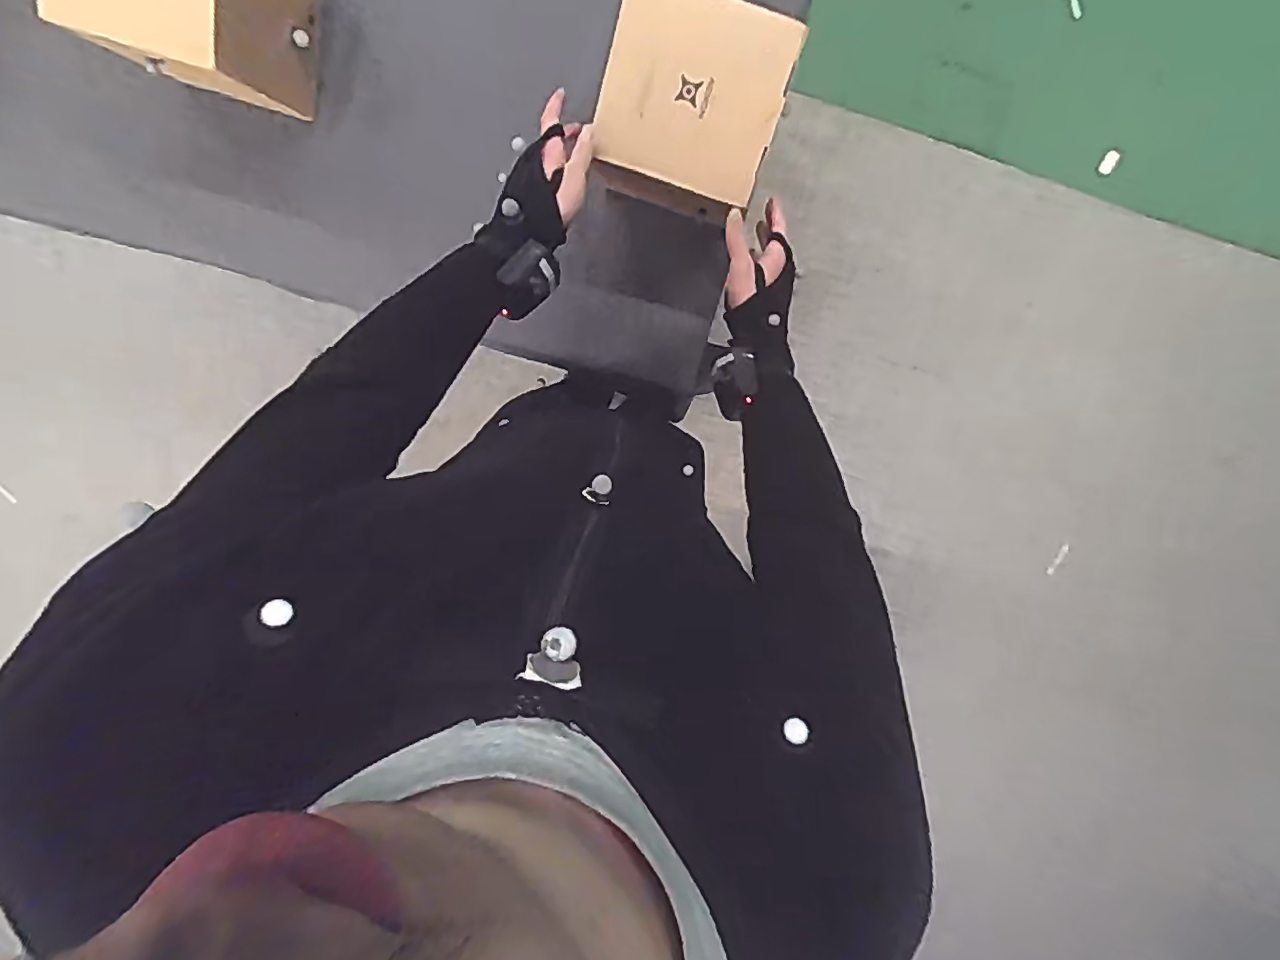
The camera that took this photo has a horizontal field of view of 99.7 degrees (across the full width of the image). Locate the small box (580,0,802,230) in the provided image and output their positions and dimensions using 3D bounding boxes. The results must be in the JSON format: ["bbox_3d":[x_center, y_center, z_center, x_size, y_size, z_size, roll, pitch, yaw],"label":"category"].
[{"bbox_3d":[0.051,-0.392,0.598,0.179,0.176,0.168,18,108,-1],"label":"small box"}]

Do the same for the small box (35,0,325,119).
[{"bbox_3d":[-0.483,-0.526,0.586,0.179,0.176,0.168,16,109,-3],"label":"small box"}]
